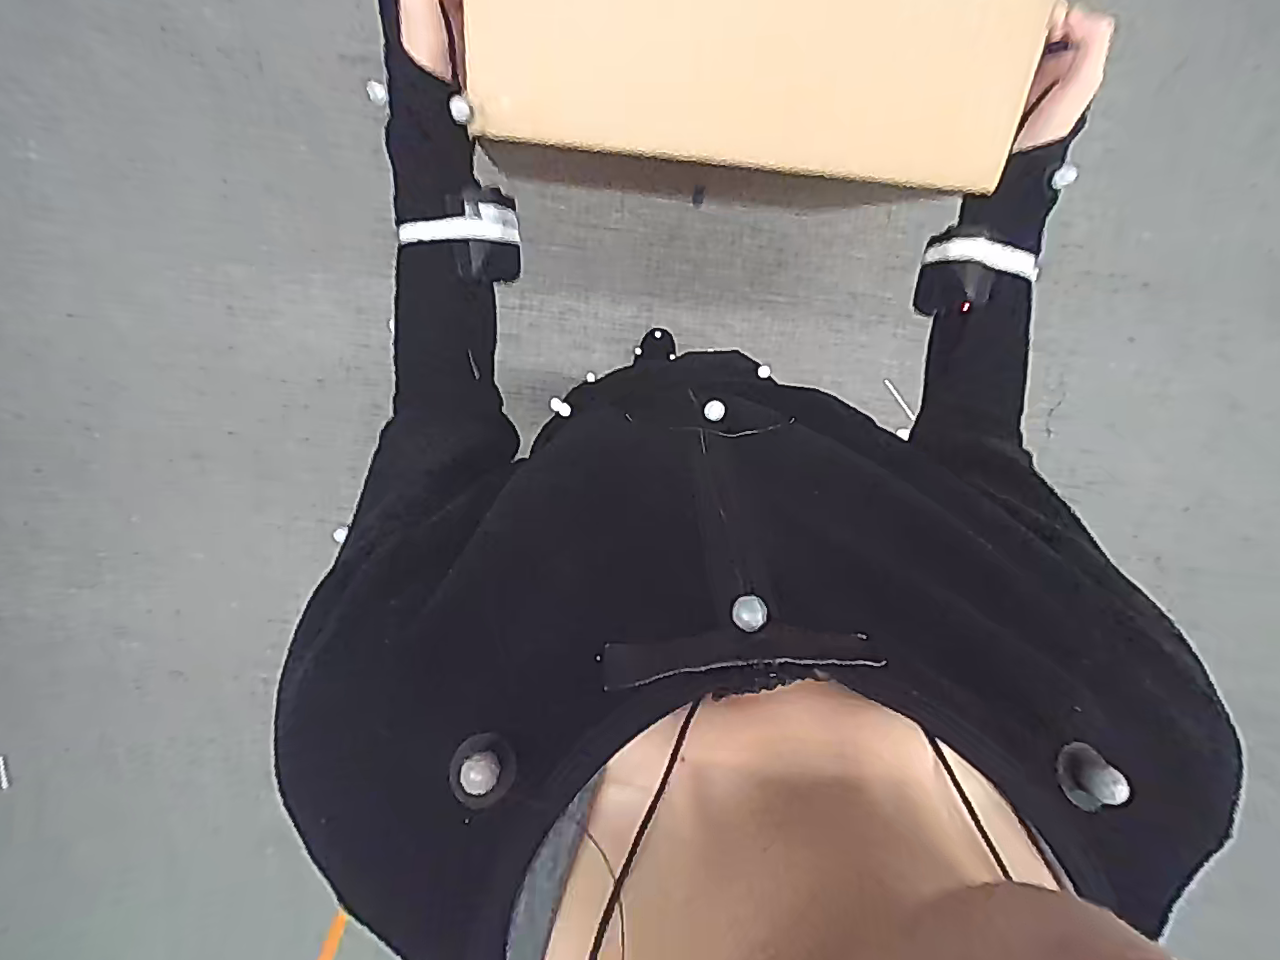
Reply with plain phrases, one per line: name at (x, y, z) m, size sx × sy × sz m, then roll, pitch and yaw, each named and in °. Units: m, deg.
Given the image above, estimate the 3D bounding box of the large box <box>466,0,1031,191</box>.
large box at (0.071, -0.445, 0.477) m, size 0.408 × 0.320 × 0.320 m, roll 1°, pitch 114°, yaw -9°
